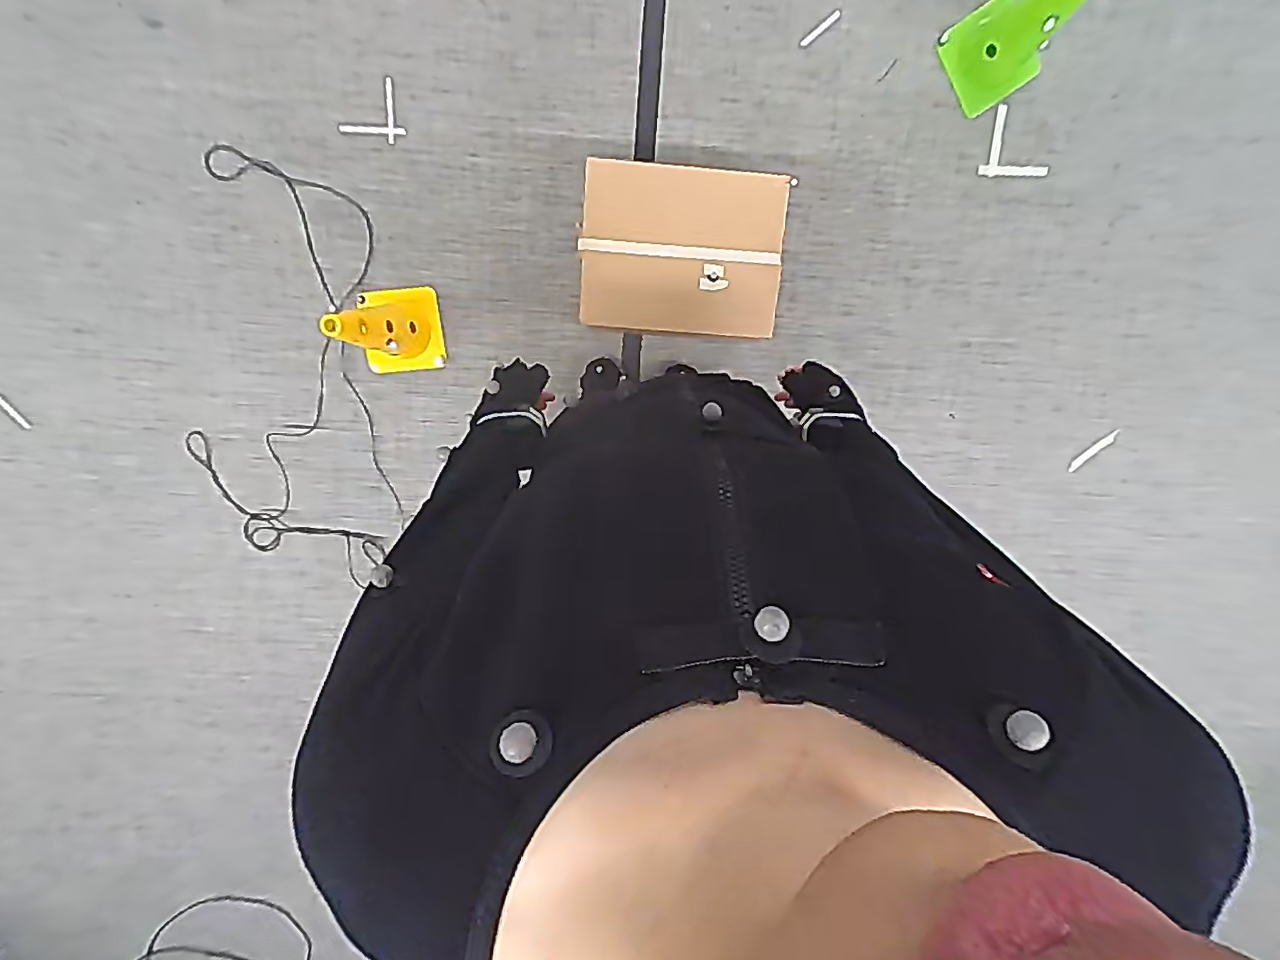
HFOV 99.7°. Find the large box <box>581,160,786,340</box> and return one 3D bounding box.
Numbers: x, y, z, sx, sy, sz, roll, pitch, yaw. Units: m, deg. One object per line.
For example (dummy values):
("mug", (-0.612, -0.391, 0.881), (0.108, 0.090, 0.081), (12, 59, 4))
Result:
("large box", (0.075, -0.492, 1.233), (0.408, 0.320, 0.320), (3, 103, -4))

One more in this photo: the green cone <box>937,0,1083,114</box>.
("green cone", (0.828, -0.962, 1.104), (0.202, 0.368, 0.200), (-34, 103, 5))
